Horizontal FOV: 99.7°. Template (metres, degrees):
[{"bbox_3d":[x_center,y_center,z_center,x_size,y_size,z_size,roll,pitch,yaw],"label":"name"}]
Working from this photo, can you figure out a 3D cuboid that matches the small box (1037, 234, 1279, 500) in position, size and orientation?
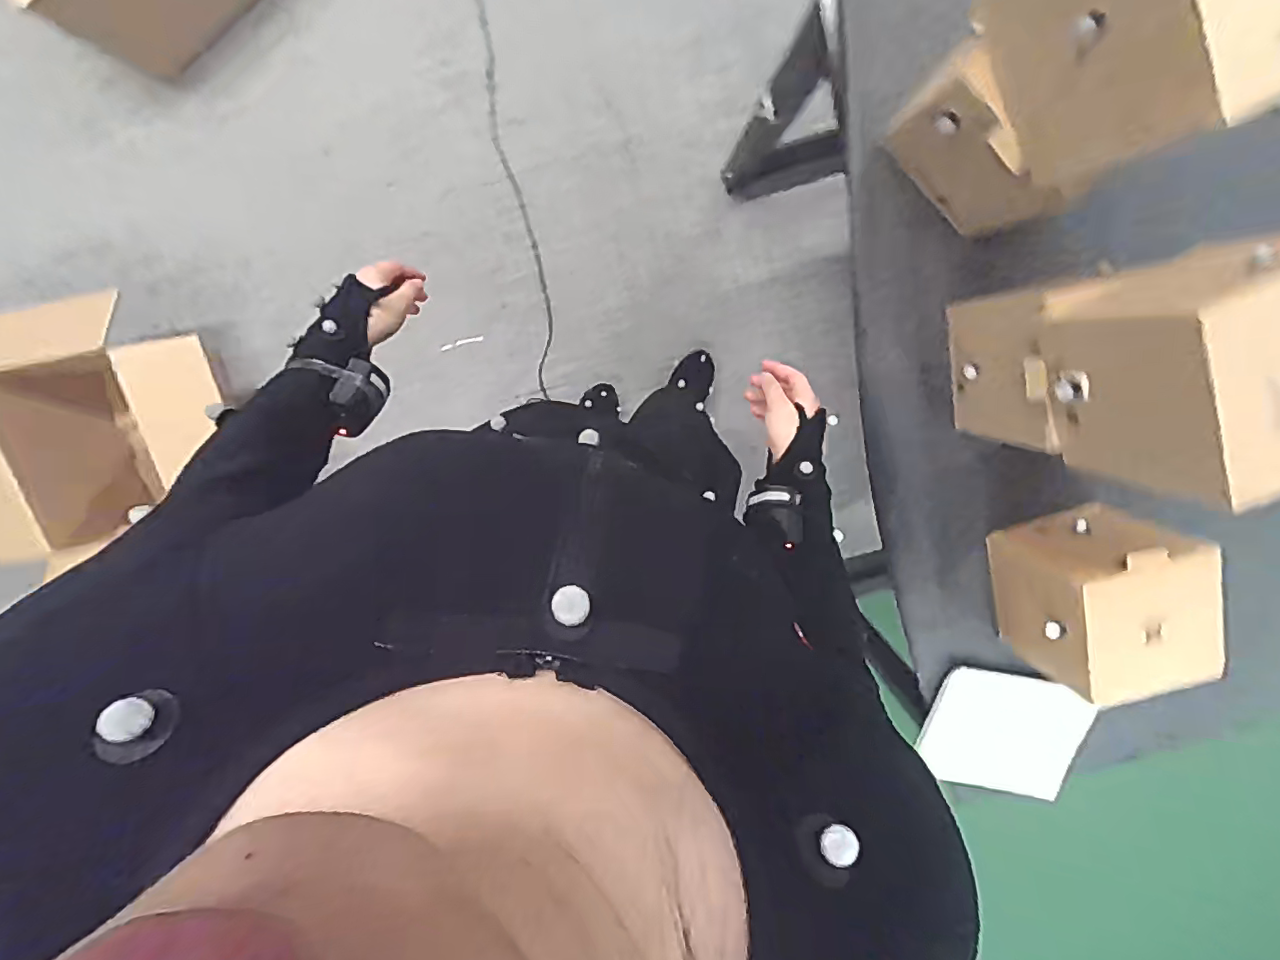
[{"bbox_3d":[0.505,-0.107,0.473,0.179,0.176,0.168,-23,102,5],"label":"small box"}]

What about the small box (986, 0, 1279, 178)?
[{"bbox_3d":[0.406,-0.370,0.404,0.168,0.176,0.179,-29,102,6],"label":"small box"}]

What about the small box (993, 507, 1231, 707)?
[{"bbox_3d":[0.602,0.155,0.708,0.168,0.176,0.179,-16,103,2],"label":"small box"}]

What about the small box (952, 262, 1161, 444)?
[{"bbox_3d":[0.501,-0.150,0.630,0.179,0.176,0.168,-12,103,1],"label":"small box"}]
